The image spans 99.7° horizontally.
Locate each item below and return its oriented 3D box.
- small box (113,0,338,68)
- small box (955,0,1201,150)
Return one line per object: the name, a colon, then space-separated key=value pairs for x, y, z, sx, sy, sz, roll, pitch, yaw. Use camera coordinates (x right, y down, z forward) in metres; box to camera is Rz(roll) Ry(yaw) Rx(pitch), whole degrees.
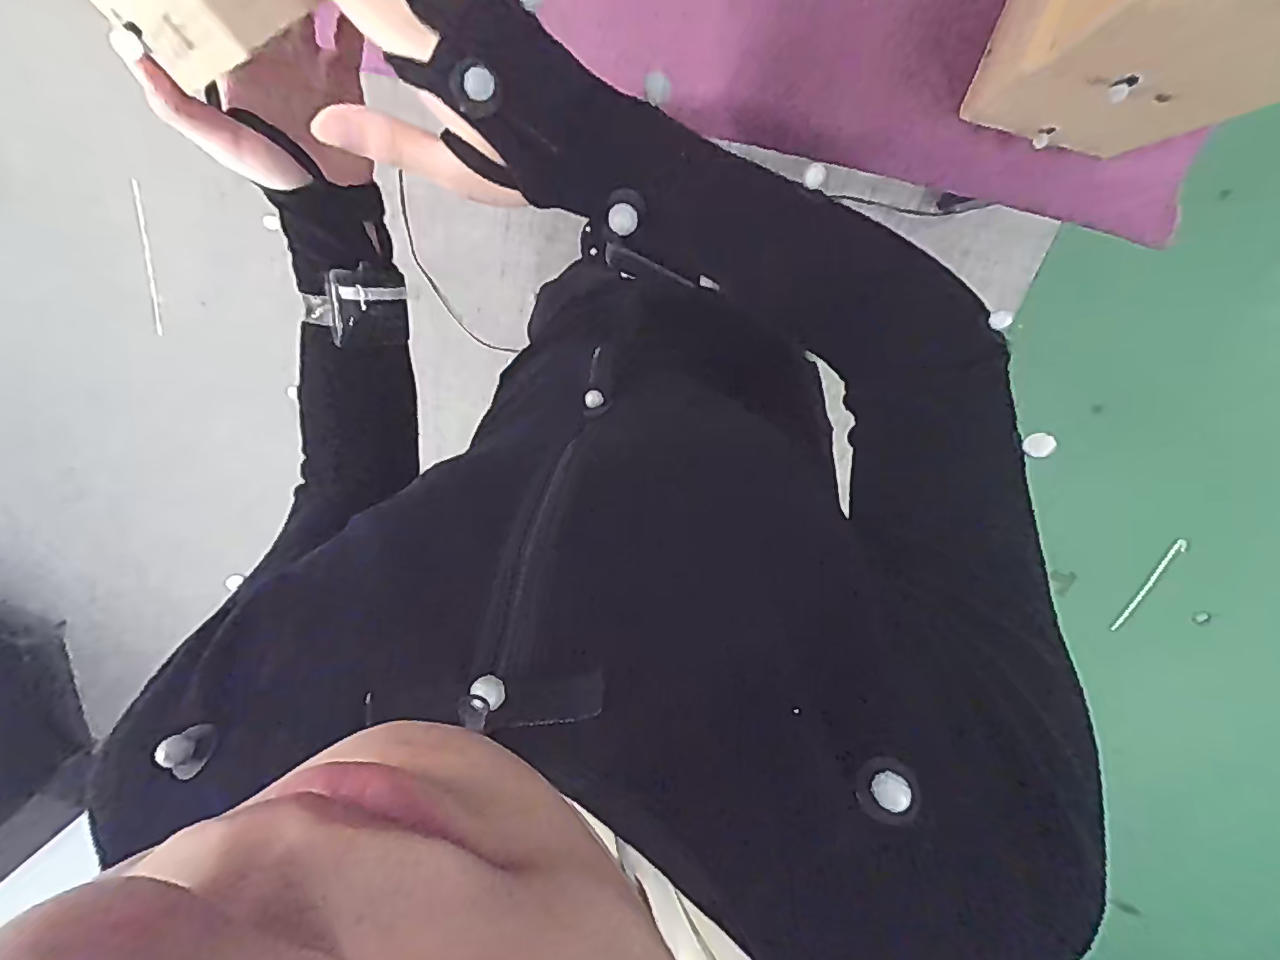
small box: x=-0.202 y=-0.322 z=0.245 sx=0.168 sy=0.179 sz=0.176 roll=24 pitch=160 yaw=37
small box: x=0.457 y=-0.446 z=0.530 sx=0.179 sy=0.176 sz=0.168 roll=19 pitch=113 yaw=4
